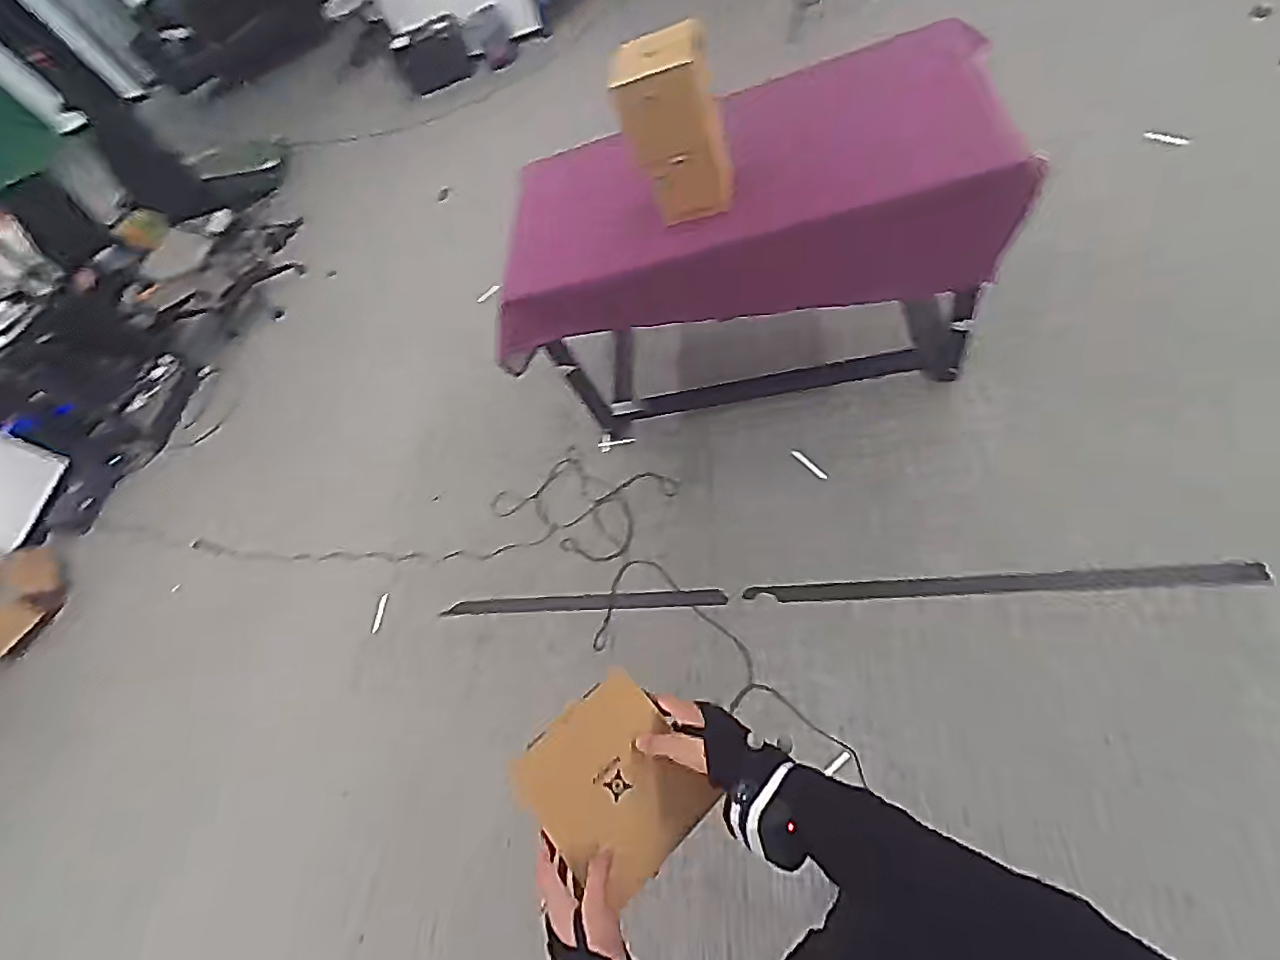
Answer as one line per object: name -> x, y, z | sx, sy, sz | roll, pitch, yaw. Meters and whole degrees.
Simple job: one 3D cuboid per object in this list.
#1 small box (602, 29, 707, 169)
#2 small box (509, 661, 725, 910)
small box -> 0.036, -0.807, 1.162 | 0.179, 0.176, 0.168 | -5, 61, 19
small box -> -0.029, 0.346, 0.640 | 0.168, 0.176, 0.179 | -35, 70, -21
